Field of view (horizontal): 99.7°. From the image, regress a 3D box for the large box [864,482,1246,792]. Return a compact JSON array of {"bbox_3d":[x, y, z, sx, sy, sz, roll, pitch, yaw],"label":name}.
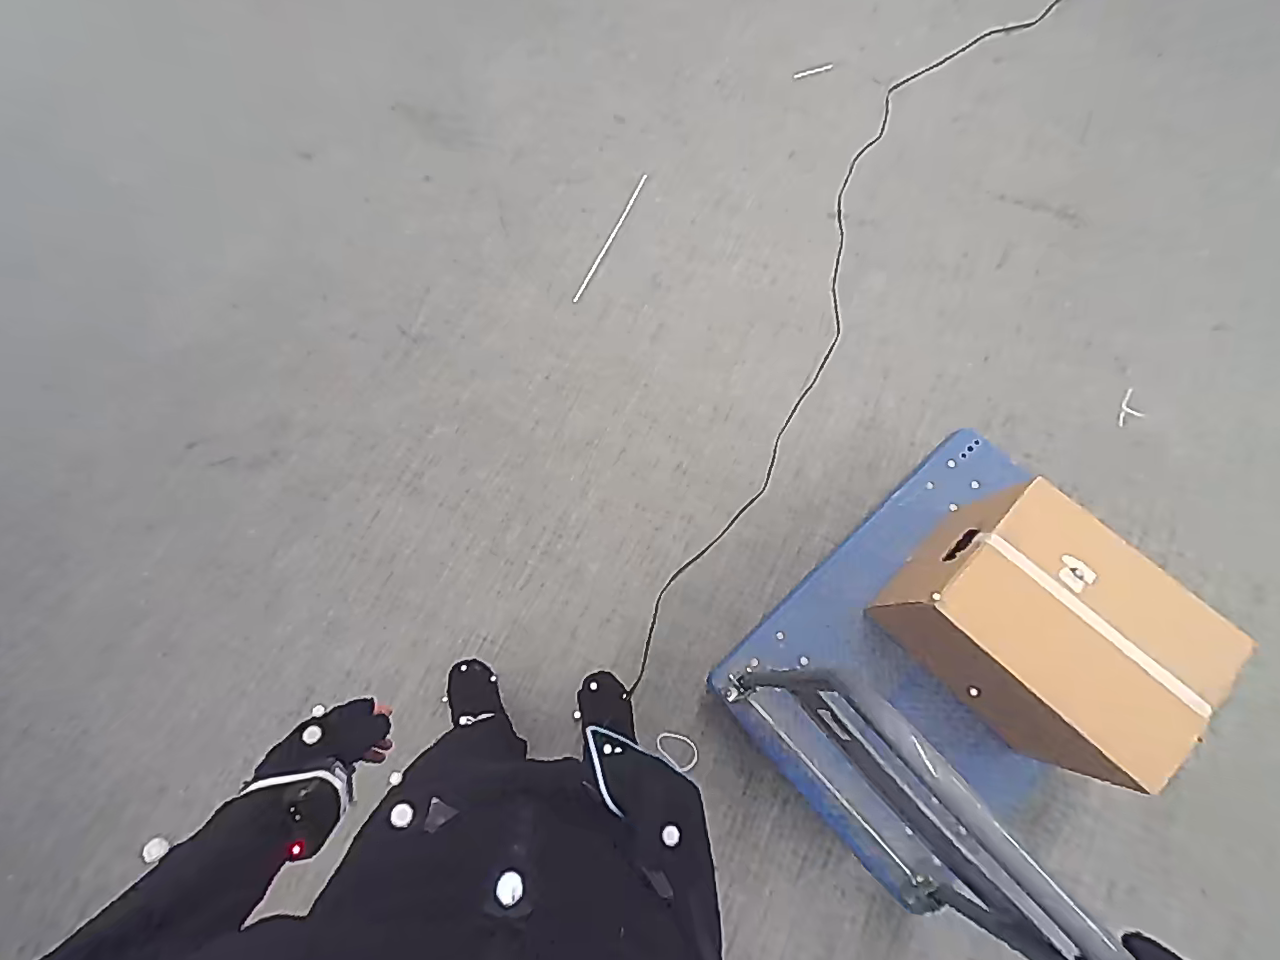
[{"bbox_3d":[0.720,0.276,1.013,0.408,0.320,0.320,43,79,12],"label":"large box"}]
